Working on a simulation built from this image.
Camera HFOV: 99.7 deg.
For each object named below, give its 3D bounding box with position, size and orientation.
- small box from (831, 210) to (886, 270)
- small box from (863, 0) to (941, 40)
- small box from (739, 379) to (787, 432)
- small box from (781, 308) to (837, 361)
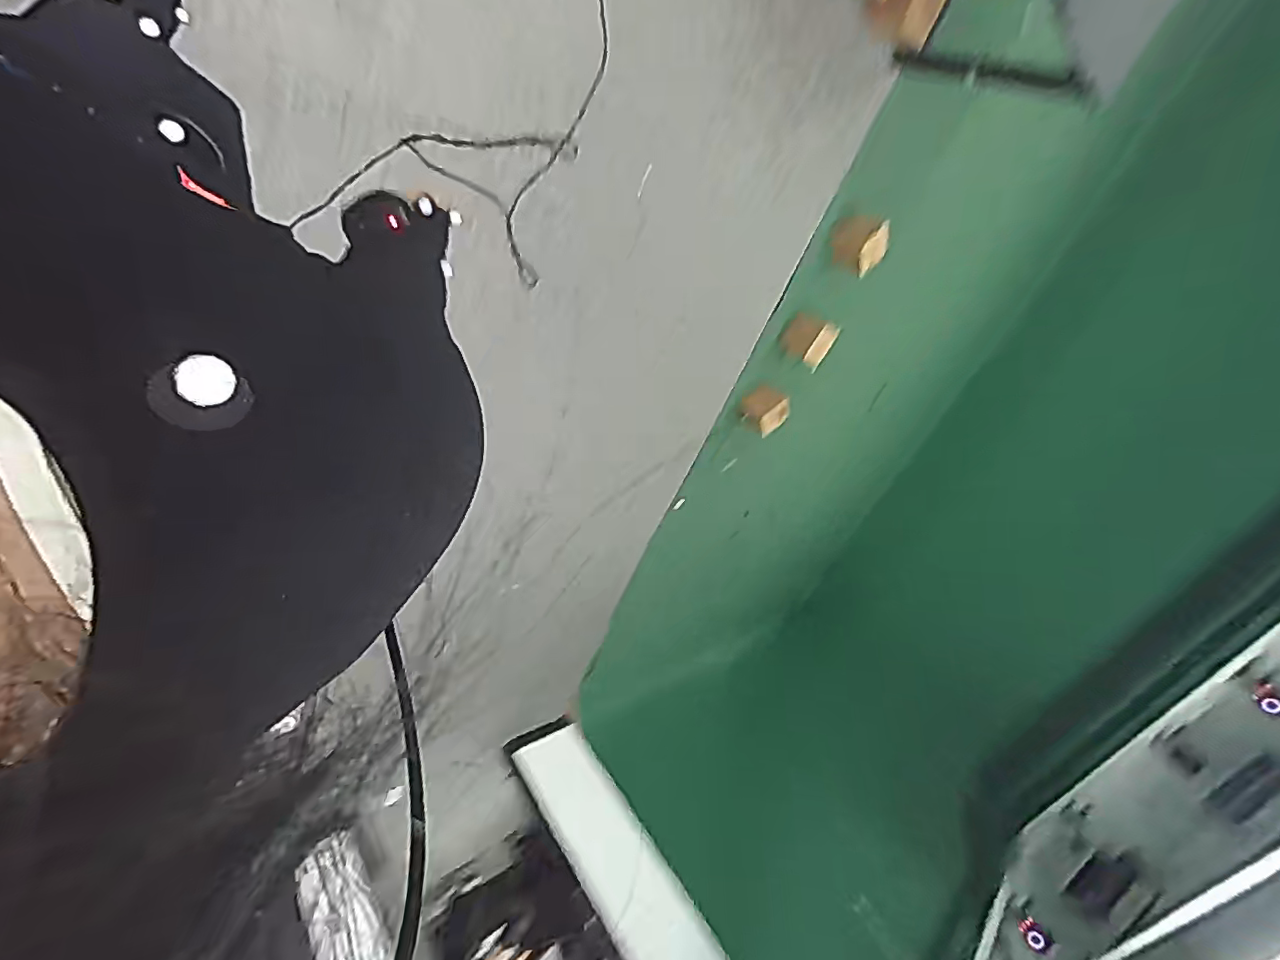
[{"bbox_3d":[0.986,-1.091,2.442,0.168,0.176,0.179,-45,146,-4],"label":"small box"},{"bbox_3d":[0.874,-1.602,1.789,0.179,0.176,0.168,-5,129,-45],"label":"small box"},{"bbox_3d":[0.634,-0.389,2.784,0.179,0.176,0.168,-39,146,-9],"label":"small box"},{"bbox_3d":[0.823,-0.716,2.652,0.168,0.176,0.179,9,119,-50],"label":"small box"}]
